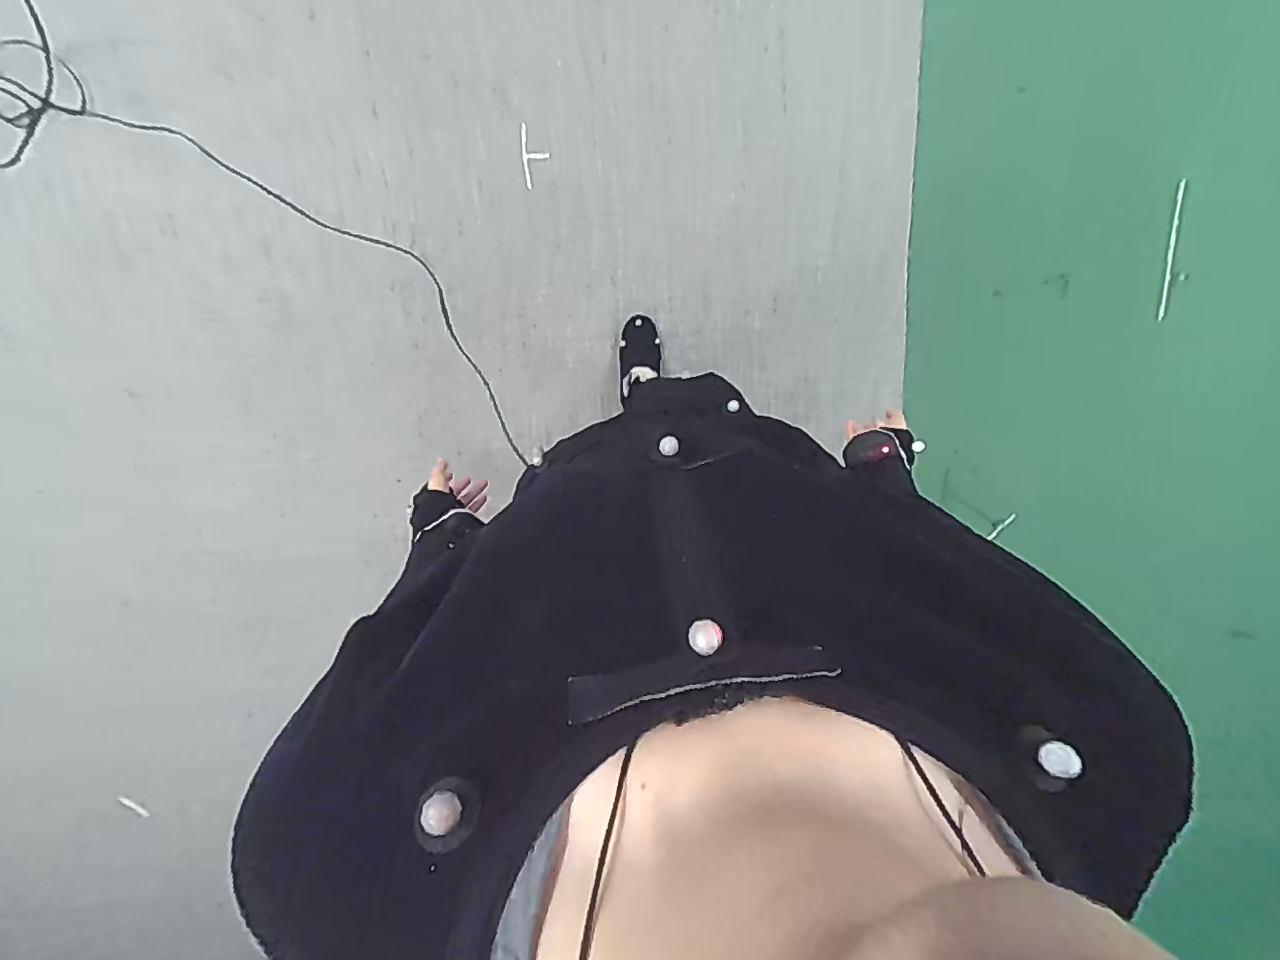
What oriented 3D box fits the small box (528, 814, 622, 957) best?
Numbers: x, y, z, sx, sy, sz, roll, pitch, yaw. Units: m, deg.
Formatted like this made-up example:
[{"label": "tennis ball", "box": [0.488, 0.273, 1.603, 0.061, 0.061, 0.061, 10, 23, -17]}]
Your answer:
[{"label": "small box", "box": [-0.133, 0.825, 1.118, 0.179, 0.176, 0.168, -3, 102, -6]}]
